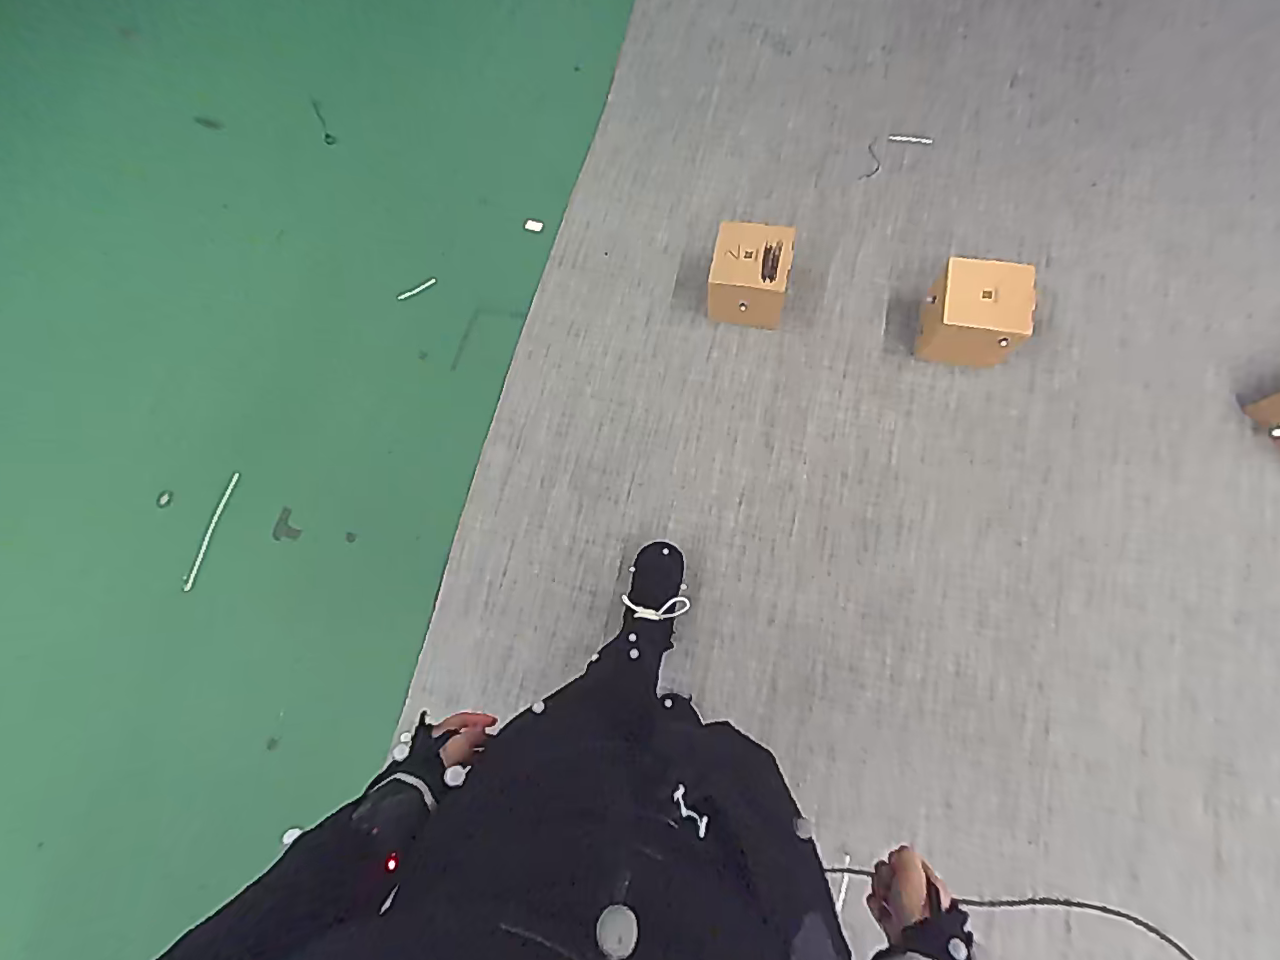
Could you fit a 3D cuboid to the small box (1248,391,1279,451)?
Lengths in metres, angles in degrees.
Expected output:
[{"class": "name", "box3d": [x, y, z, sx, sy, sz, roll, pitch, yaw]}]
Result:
[{"class": "small box", "box3d": [1.408, -0.141, 1.073, 0.179, 0.176, 0.168, -30, 73, 0]}]

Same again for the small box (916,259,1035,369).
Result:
[{"class": "small box", "box3d": [0.740, -0.365, 1.209, 0.179, 0.176, 0.168, 10, 77, 9]}]
